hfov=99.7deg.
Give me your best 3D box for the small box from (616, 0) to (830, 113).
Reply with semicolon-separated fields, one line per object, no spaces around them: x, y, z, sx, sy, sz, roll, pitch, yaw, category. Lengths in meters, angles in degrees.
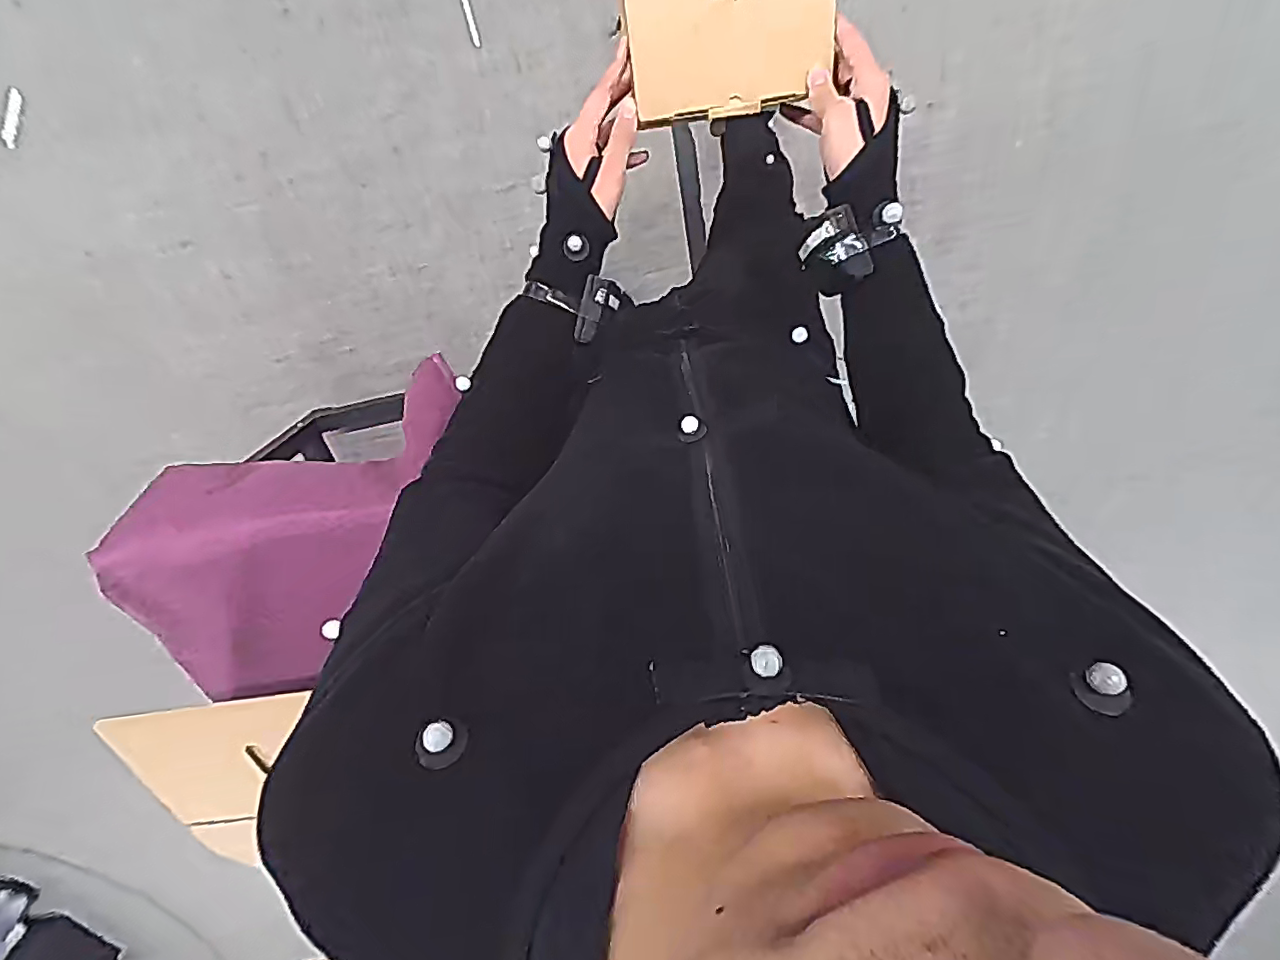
0.063;-0.440;0.480;0.168;0.176;0.179;-8;122;2;small box
